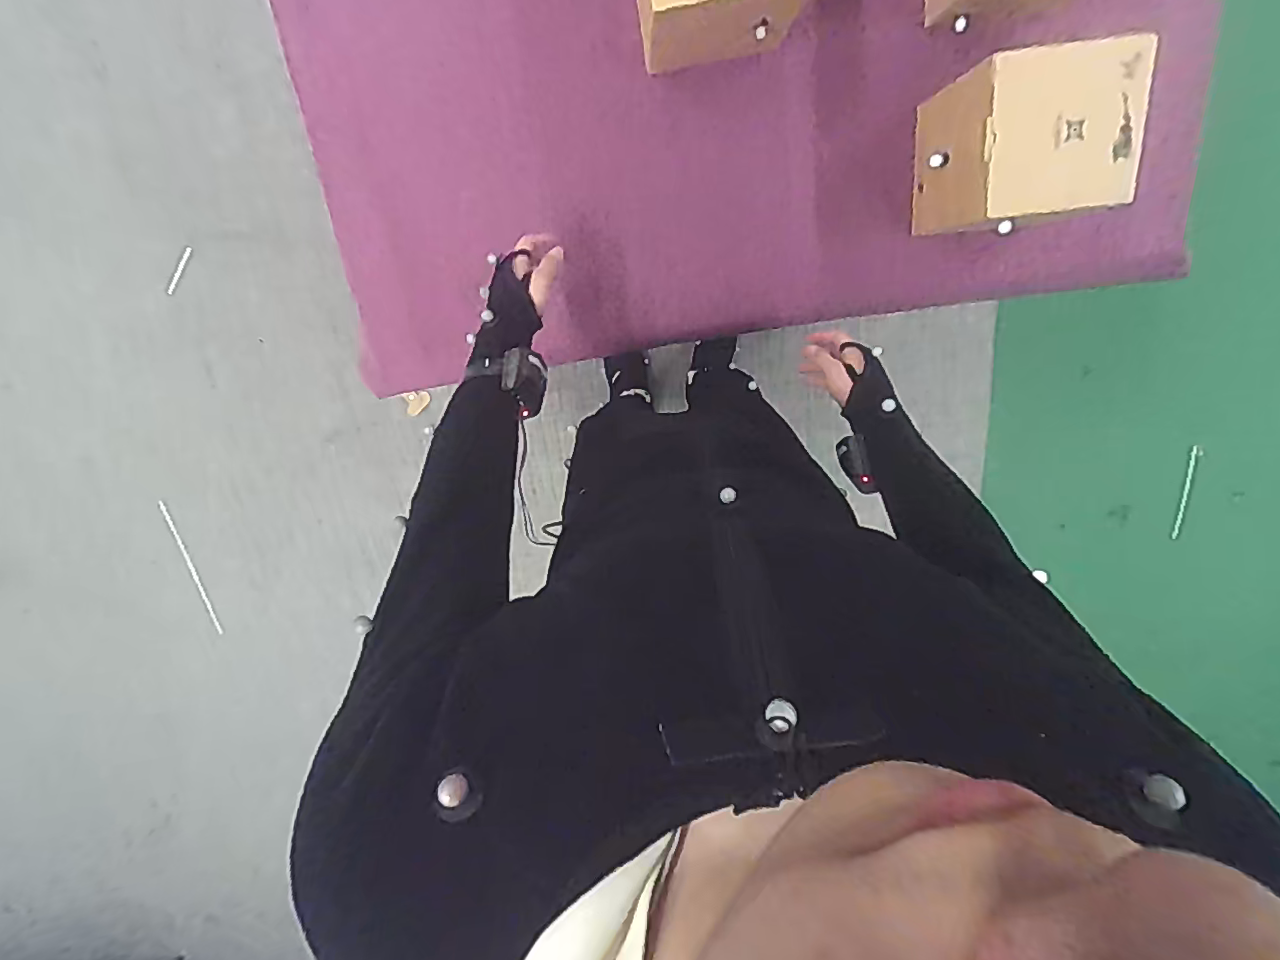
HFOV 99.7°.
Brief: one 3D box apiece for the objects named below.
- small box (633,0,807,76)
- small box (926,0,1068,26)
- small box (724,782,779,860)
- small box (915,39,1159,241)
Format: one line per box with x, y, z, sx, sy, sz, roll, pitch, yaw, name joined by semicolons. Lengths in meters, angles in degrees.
0.079;-0.588;0.600;0.179;0.176;0.168;-9;108;2;small box
0.434;-0.636;0.589;0.168;0.176;0.179;-7;108;1;small box
0.401;1.233;1.961;0.168;0.176;0.179;-5;108;0;small box
0.464;-0.399;0.666;0.179;0.176;0.168;-6;107;2;small box
